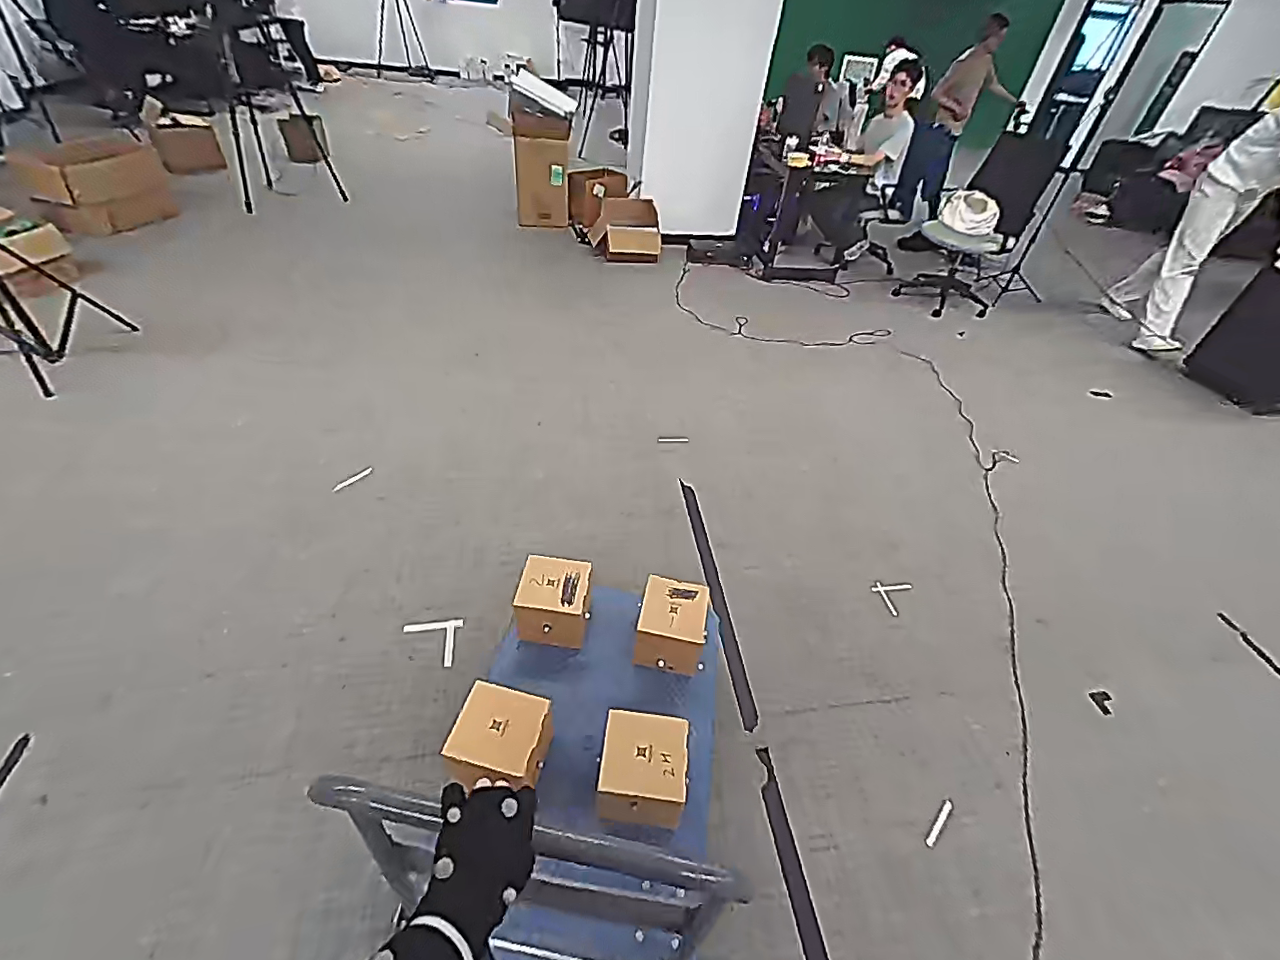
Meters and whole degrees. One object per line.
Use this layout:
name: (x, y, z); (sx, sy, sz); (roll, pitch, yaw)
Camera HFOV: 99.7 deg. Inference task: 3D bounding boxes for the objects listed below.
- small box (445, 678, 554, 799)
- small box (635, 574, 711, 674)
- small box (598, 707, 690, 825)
small box: (-0.298, 0.566, 1.179); (0.179, 0.176, 0.168); (14, 42, 5)
small box: (0.086, 0.382, 1.431); (0.168, 0.176, 0.179); (11, 43, 5)
small box: (0.007, 0.616, 1.162); (0.179, 0.176, 0.168); (8, 42, 2)
